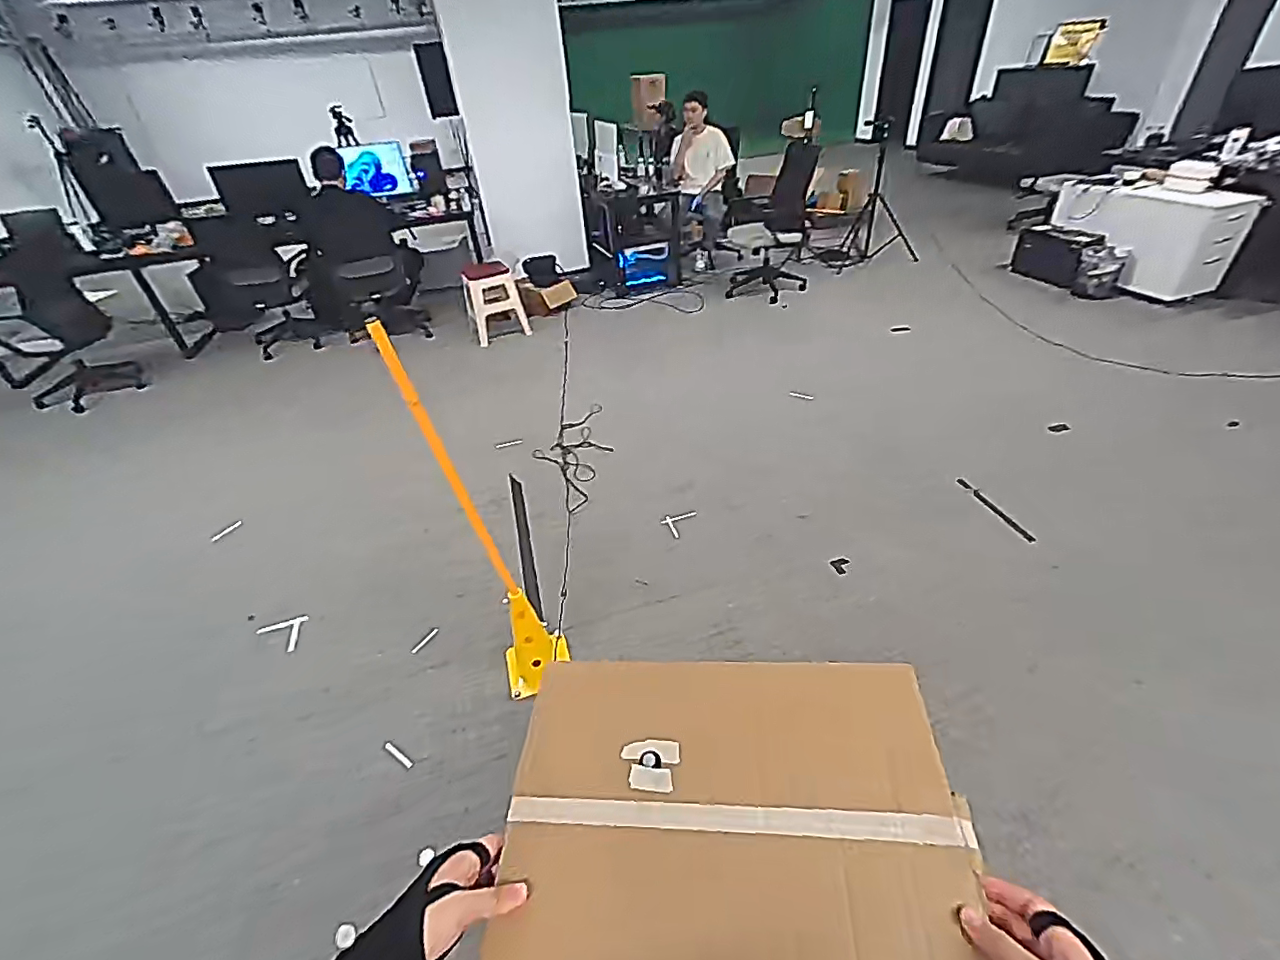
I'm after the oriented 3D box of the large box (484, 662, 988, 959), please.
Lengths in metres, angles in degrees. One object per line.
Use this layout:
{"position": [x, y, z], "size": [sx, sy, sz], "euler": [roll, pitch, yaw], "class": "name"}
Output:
{"position": [0.098, 0.425, 0.595], "size": [0.408, 0.320, 0.320], "euler": [-5, 40, 11], "class": "large box"}
